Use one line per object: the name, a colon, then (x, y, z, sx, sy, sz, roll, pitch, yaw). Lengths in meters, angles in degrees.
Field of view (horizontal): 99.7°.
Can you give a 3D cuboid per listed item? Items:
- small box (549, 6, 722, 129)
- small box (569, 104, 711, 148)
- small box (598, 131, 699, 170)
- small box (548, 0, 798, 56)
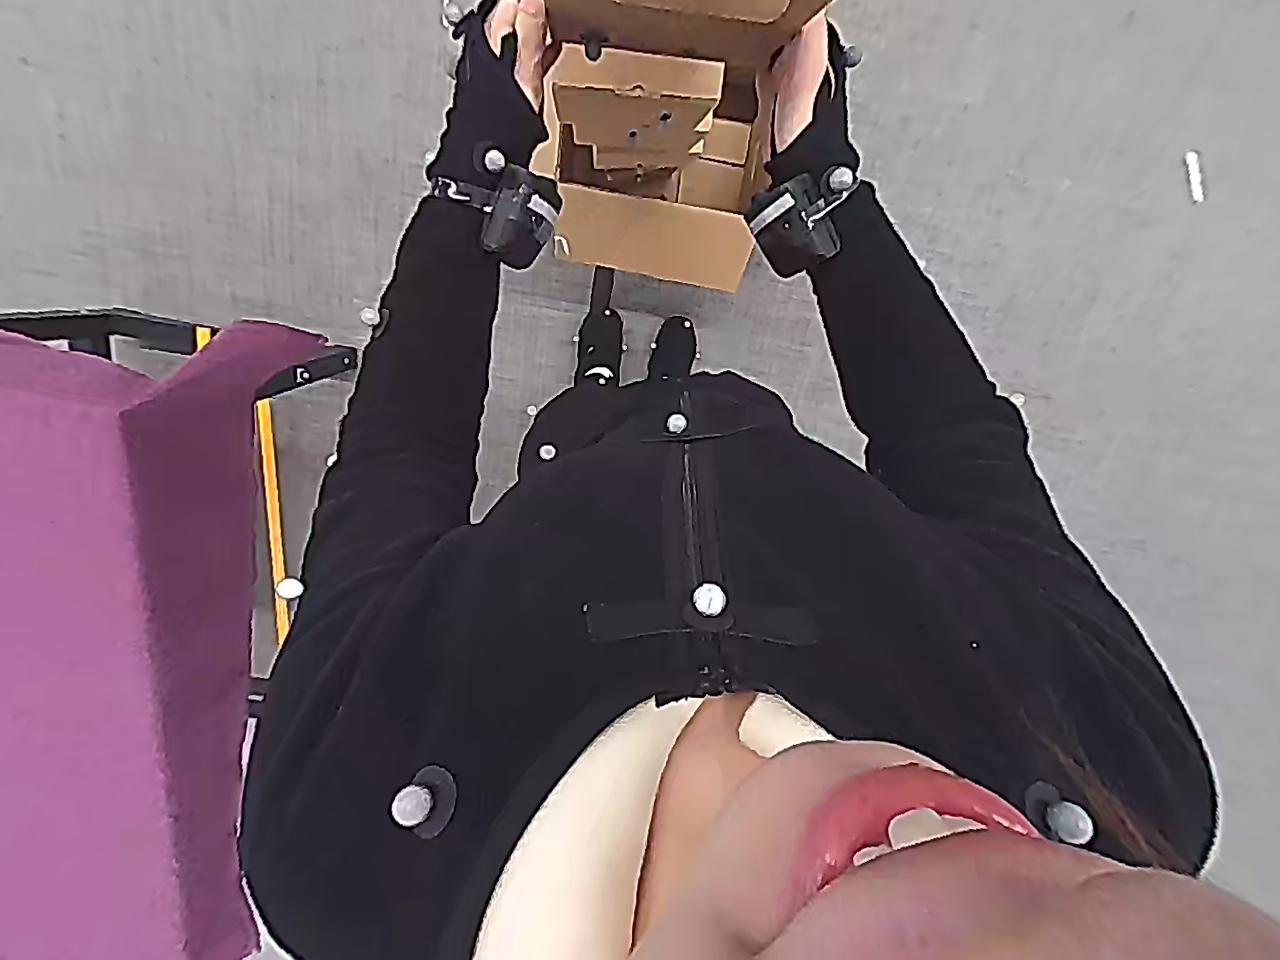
small box: (-0.005, -0.481, 0.557, 0.168, 0.176, 0.179, 1, 113, -7)
small box: (-0.002, -0.545, 0.707, 0.179, 0.176, 0.168, 0, 114, -6)
small box: (0.000, -0.692, 1.003, 0.179, 0.176, 0.168, -13, 114, -1)
small box: (0.026, -0.378, 0.314, 0.168, 0.176, 0.179, 1, 115, -7)
